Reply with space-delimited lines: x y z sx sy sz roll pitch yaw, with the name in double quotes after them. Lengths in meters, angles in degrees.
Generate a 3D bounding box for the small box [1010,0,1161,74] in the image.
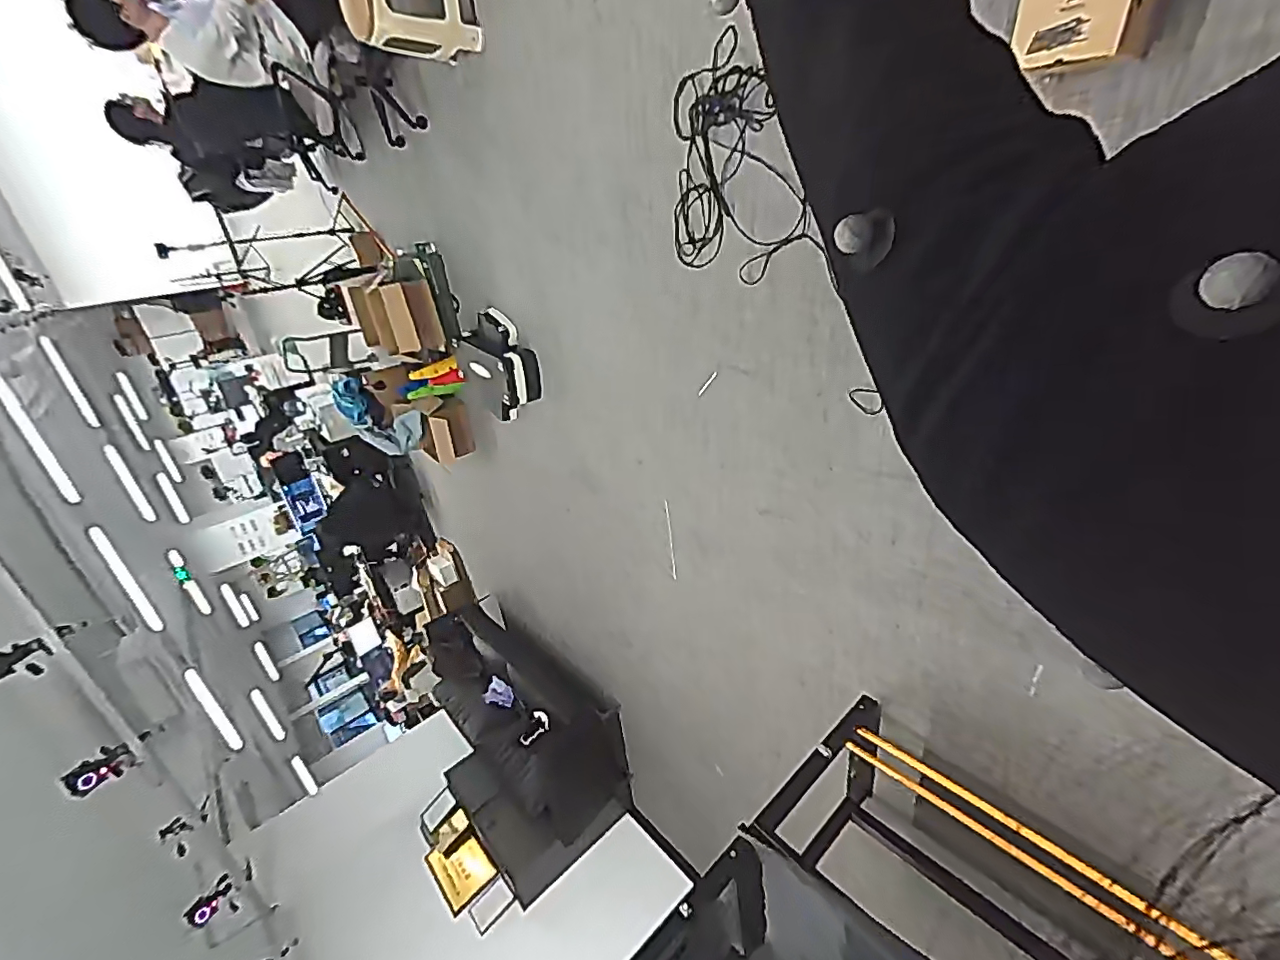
0.789 -0.829 0.944 0.168 0.176 0.179 27 131 43 "small box"
